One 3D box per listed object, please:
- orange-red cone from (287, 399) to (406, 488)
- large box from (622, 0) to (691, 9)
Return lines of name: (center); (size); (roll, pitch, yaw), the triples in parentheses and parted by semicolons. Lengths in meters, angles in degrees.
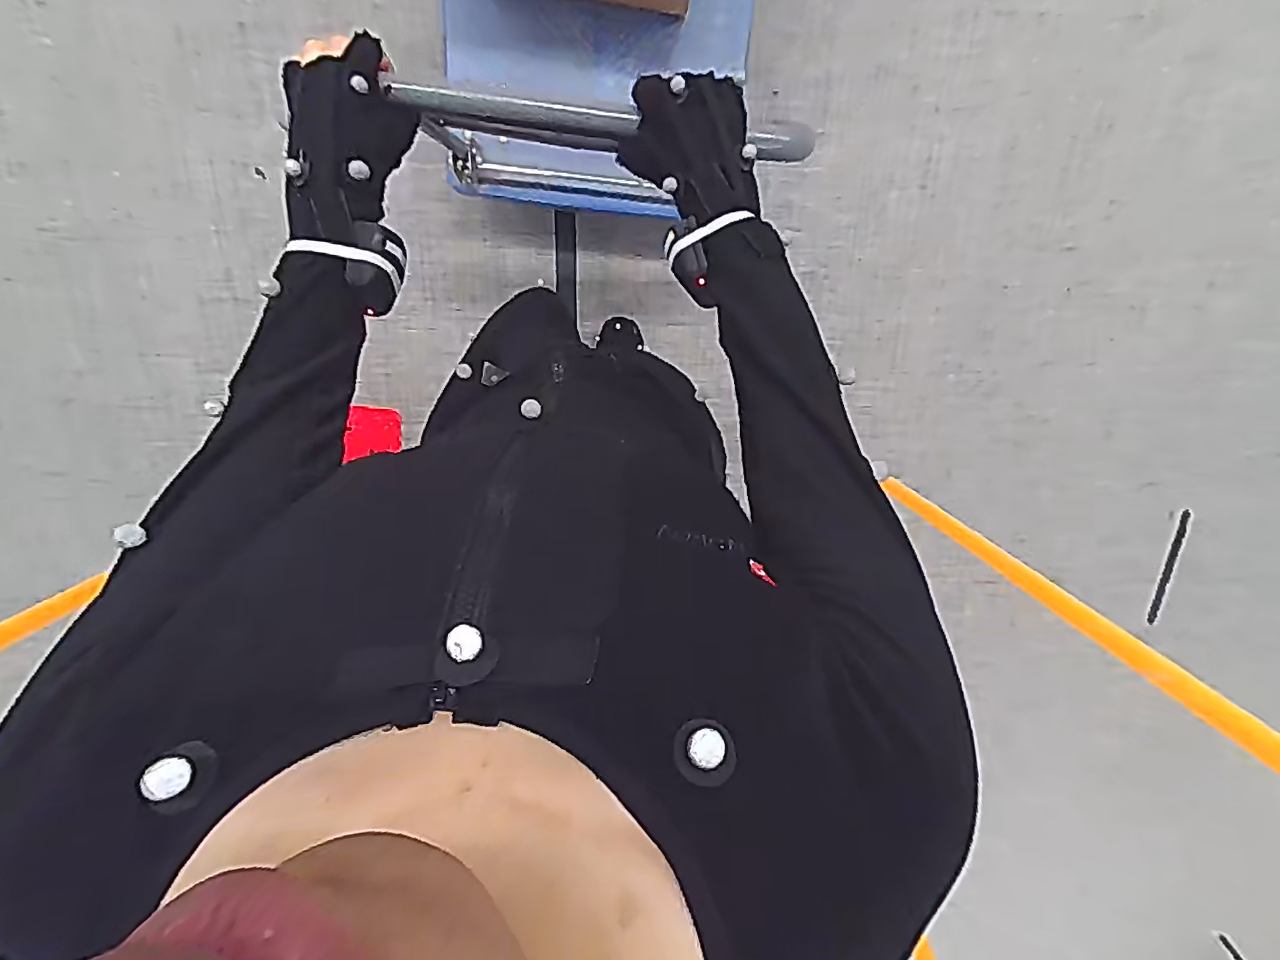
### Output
orange-red cone: (-0.715, -0.056, 1.272); (0.198, 0.360, 0.199); (7, 107, -6)
large box: (-0.084, -0.994, 0.820); (0.408, 0.320, 0.320); (6, 109, -4)
